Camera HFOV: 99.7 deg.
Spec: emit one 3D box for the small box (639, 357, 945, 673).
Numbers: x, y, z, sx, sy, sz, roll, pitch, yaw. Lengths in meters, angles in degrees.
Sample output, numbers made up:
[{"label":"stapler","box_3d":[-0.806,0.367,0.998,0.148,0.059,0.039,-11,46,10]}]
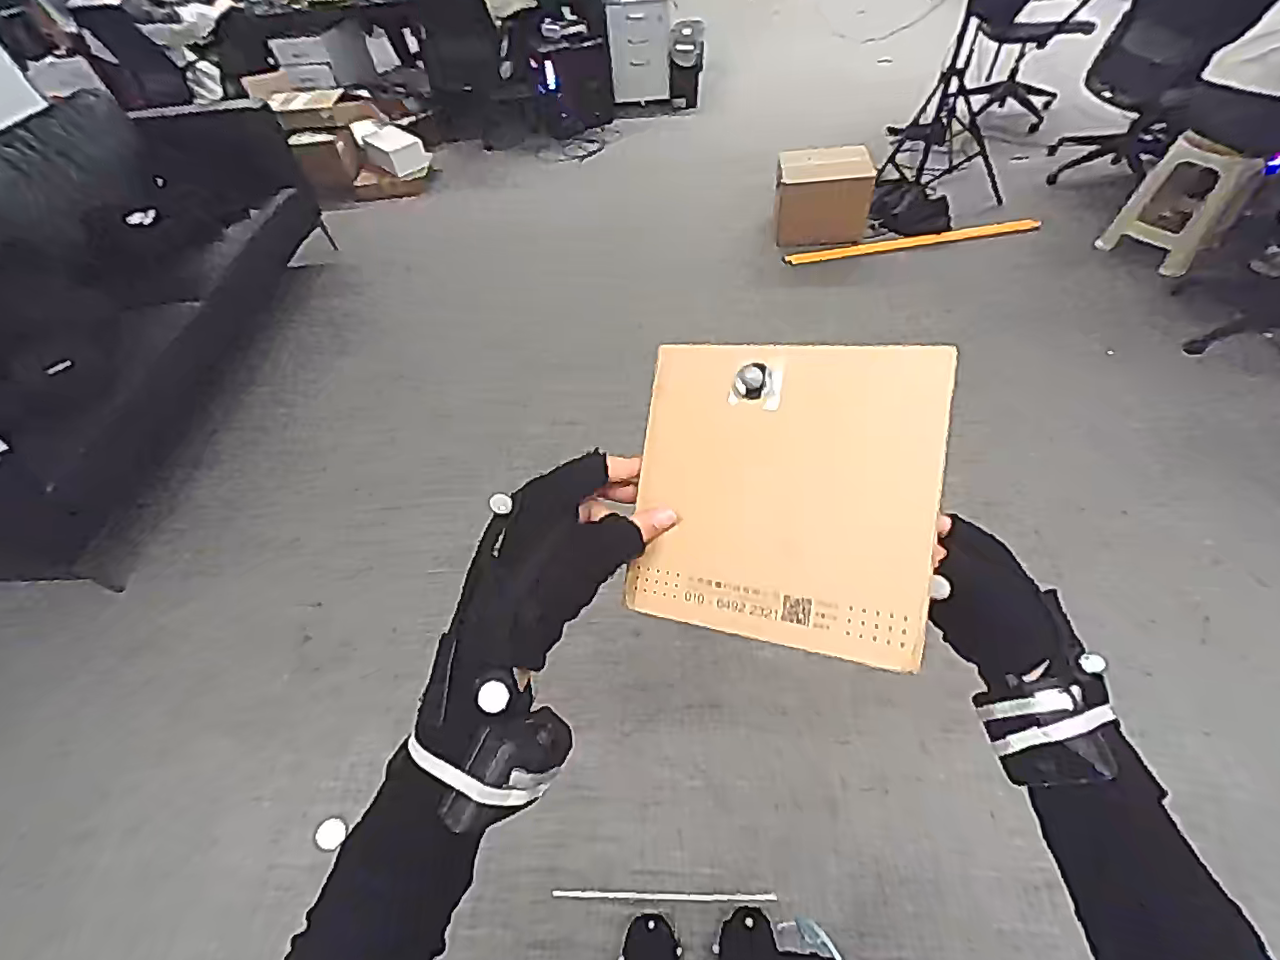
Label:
[{"label":"small box","box_3d":[0.110,0.021,0.387,0.168,0.179,0.176,6,86,25]}]
